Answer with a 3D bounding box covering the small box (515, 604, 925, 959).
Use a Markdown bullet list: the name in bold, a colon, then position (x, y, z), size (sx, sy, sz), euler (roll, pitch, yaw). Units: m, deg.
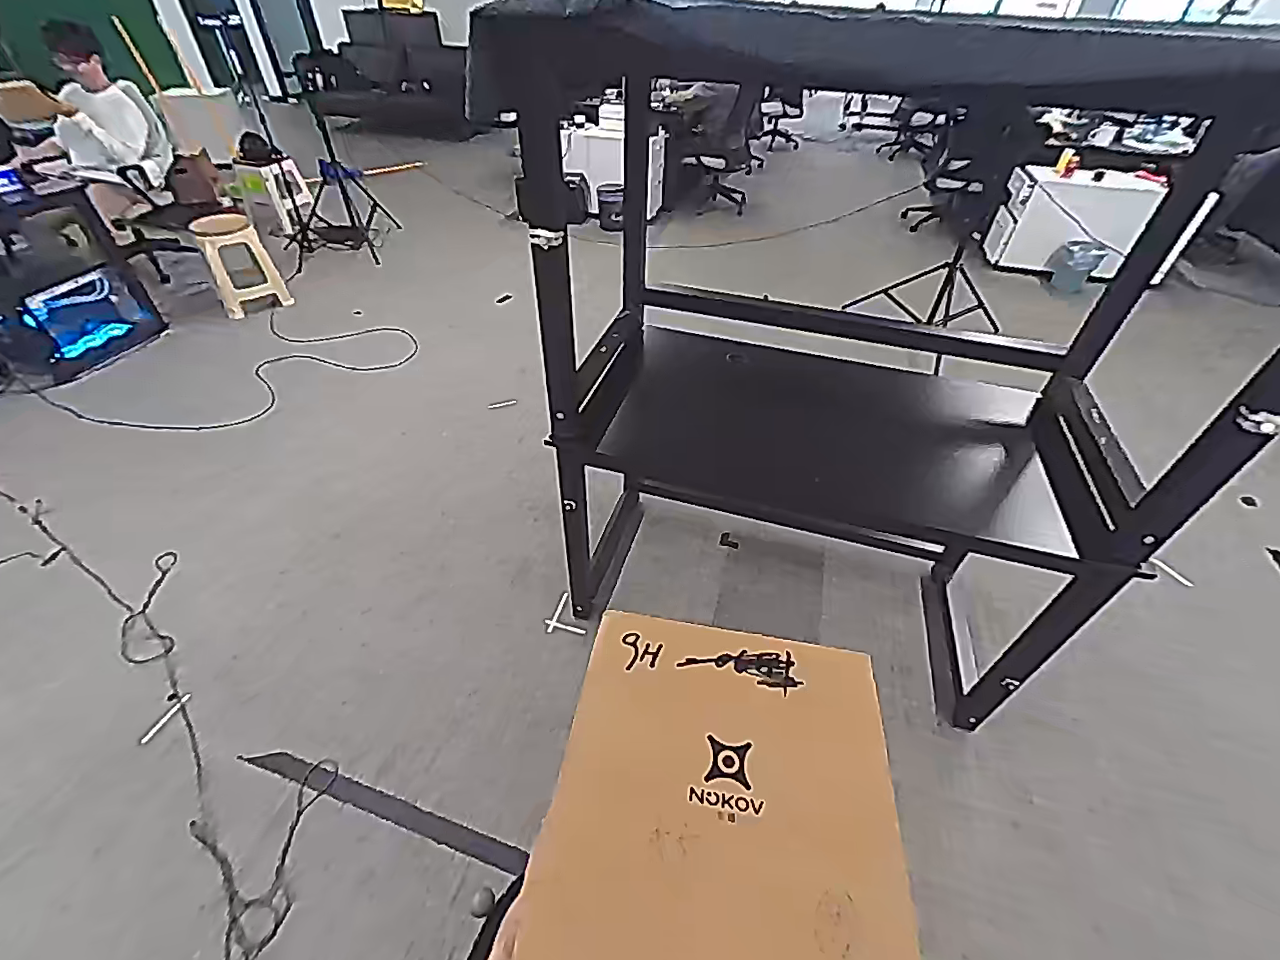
- **small box**: position (0.042, 0.205, 0.319), size (0.168, 0.176, 0.179), euler (9, 43, 6)
